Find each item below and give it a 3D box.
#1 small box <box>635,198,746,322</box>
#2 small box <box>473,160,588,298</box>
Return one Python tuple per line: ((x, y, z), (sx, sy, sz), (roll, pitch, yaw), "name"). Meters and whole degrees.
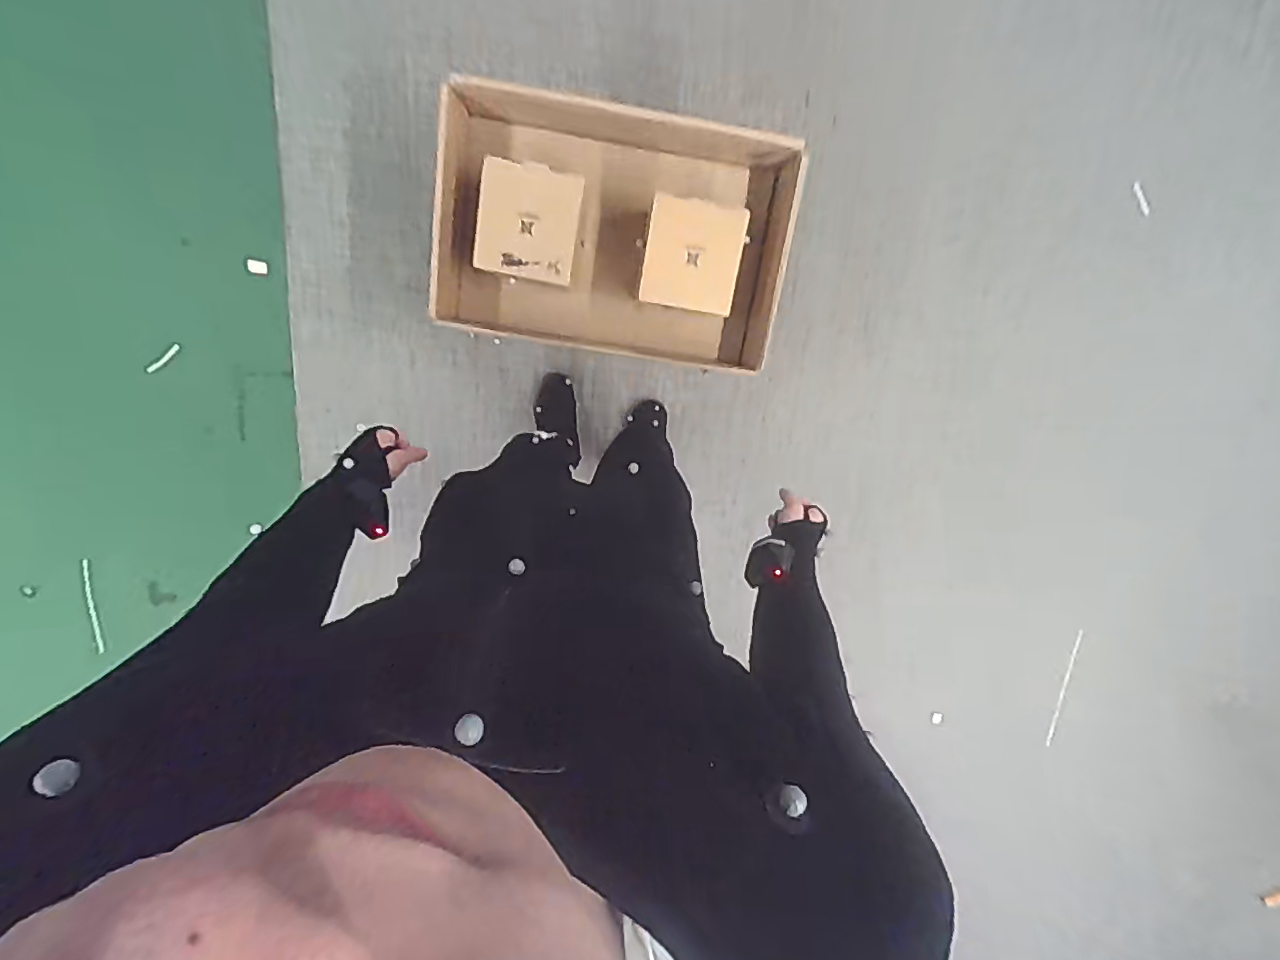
((0.085, -0.397, 1.007), (0.168, 0.176, 0.179), (9, 104, -5), "small box")
((-0.190, -0.442, 0.980), (0.168, 0.176, 0.179), (11, 103, -4), "small box")
